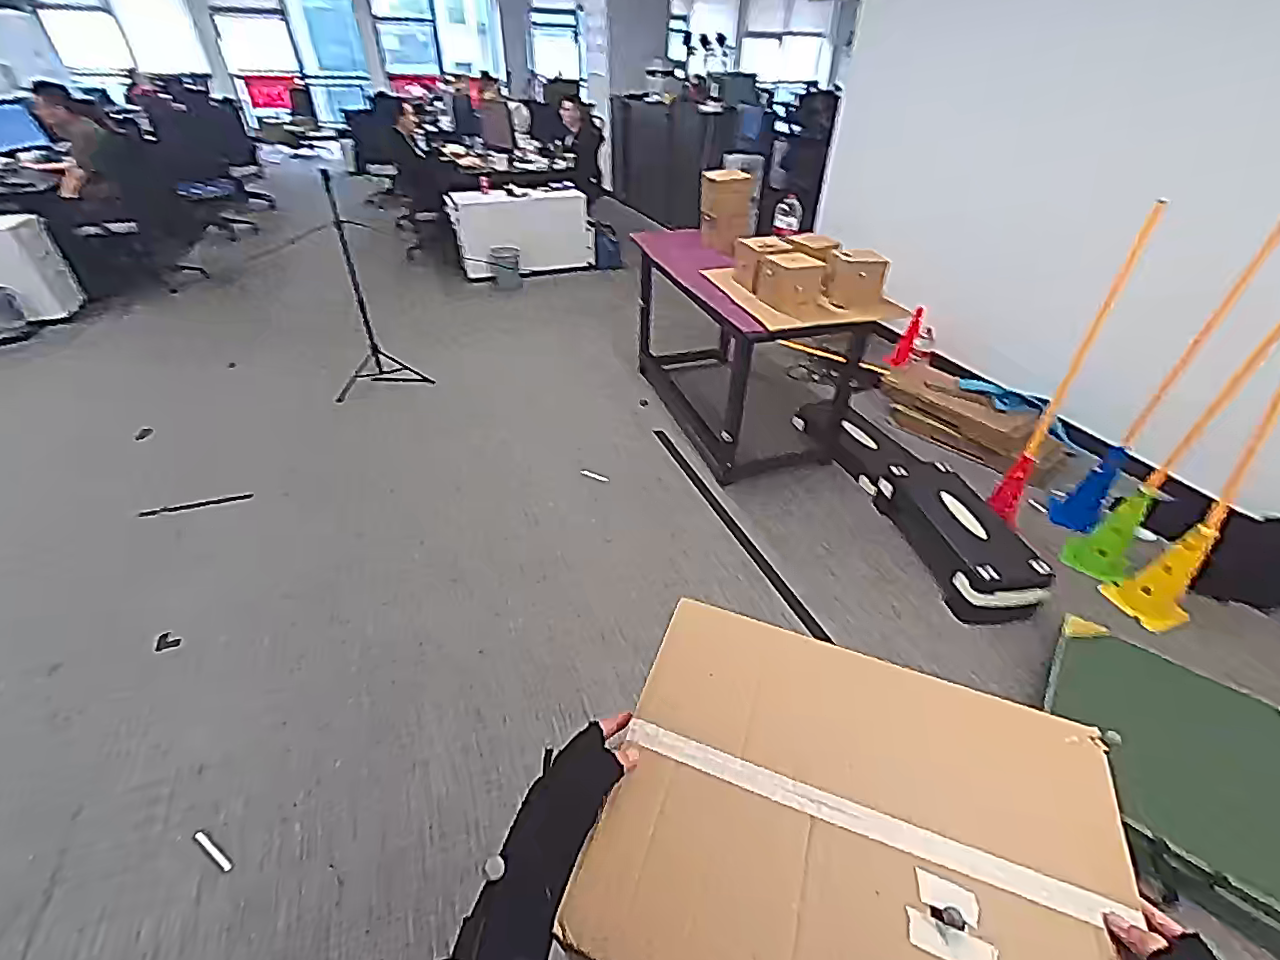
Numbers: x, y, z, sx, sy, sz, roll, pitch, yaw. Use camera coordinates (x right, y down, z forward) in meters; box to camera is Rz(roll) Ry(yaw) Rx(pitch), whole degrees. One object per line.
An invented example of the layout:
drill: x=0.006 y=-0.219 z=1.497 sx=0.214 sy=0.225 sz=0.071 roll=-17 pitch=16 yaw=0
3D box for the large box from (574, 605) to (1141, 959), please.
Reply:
large box: x=0.182 y=0.391 z=0.559 sx=0.408 sy=0.320 sz=0.320 roll=15 pitch=46 yaw=15
